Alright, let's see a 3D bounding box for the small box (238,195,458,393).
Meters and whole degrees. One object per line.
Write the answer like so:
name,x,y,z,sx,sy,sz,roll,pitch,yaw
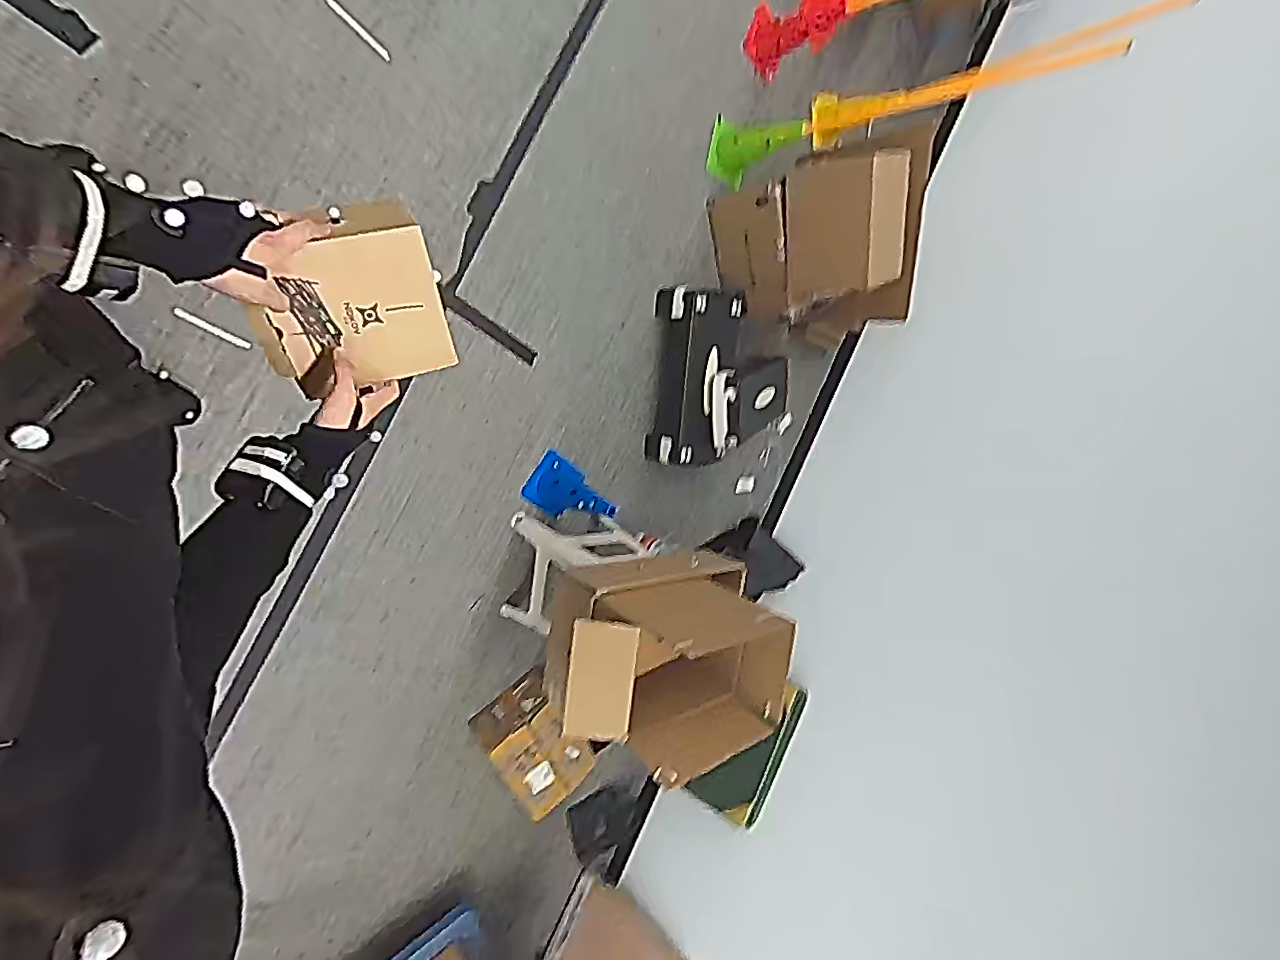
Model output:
small box,-0.342,-0.231,0.652,0.179,0.176,0.168,-21,132,-19
